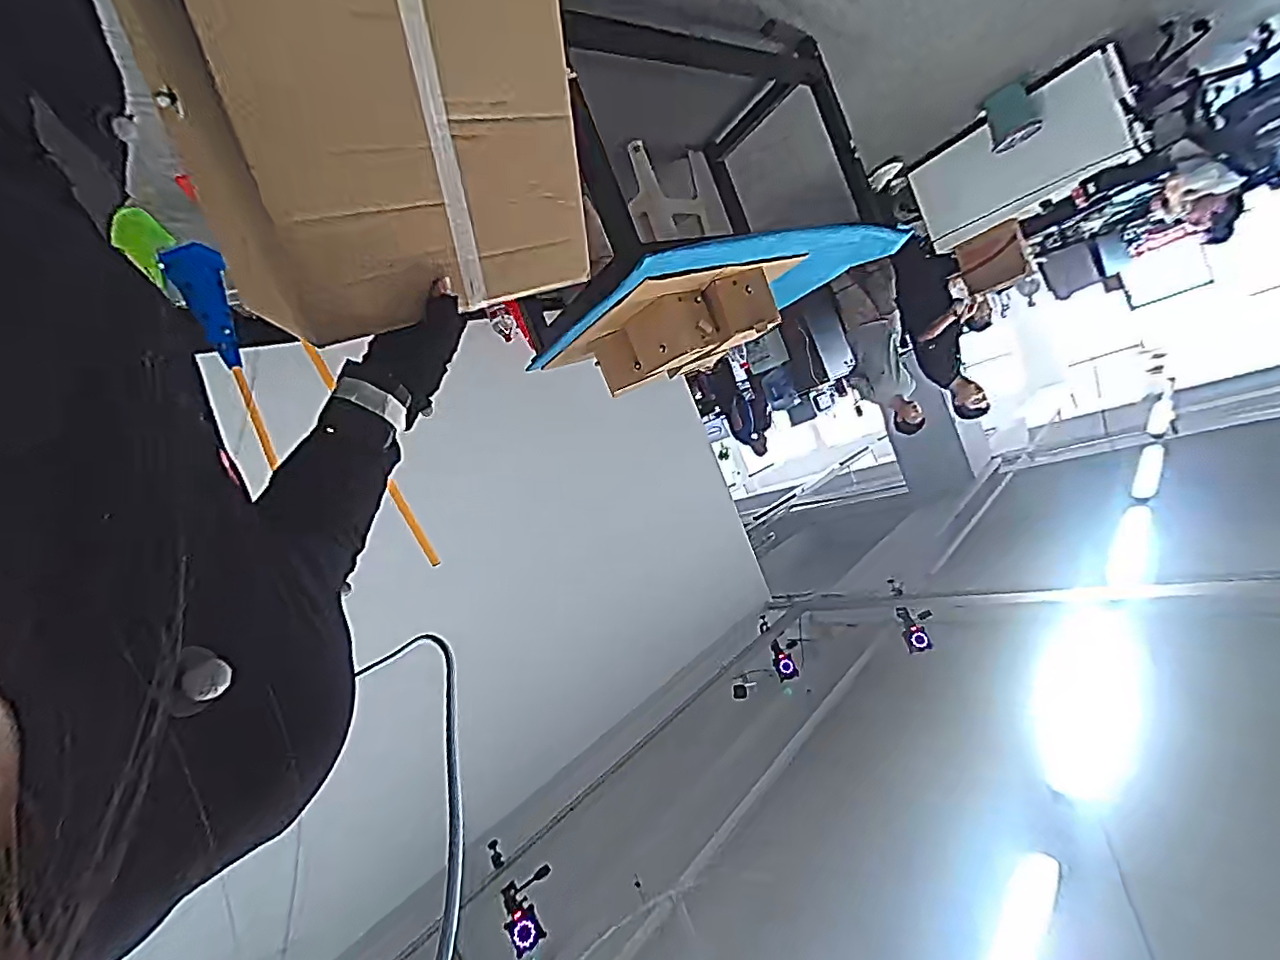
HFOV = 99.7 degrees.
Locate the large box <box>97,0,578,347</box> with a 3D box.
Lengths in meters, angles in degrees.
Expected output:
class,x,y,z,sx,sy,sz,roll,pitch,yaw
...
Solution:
class,x,y,z,sx,sy,sz,roll,pitch,yaw
large box,-0.305,-0.396,0.563,0.320,0.408,0.320,-29,-142,-34
